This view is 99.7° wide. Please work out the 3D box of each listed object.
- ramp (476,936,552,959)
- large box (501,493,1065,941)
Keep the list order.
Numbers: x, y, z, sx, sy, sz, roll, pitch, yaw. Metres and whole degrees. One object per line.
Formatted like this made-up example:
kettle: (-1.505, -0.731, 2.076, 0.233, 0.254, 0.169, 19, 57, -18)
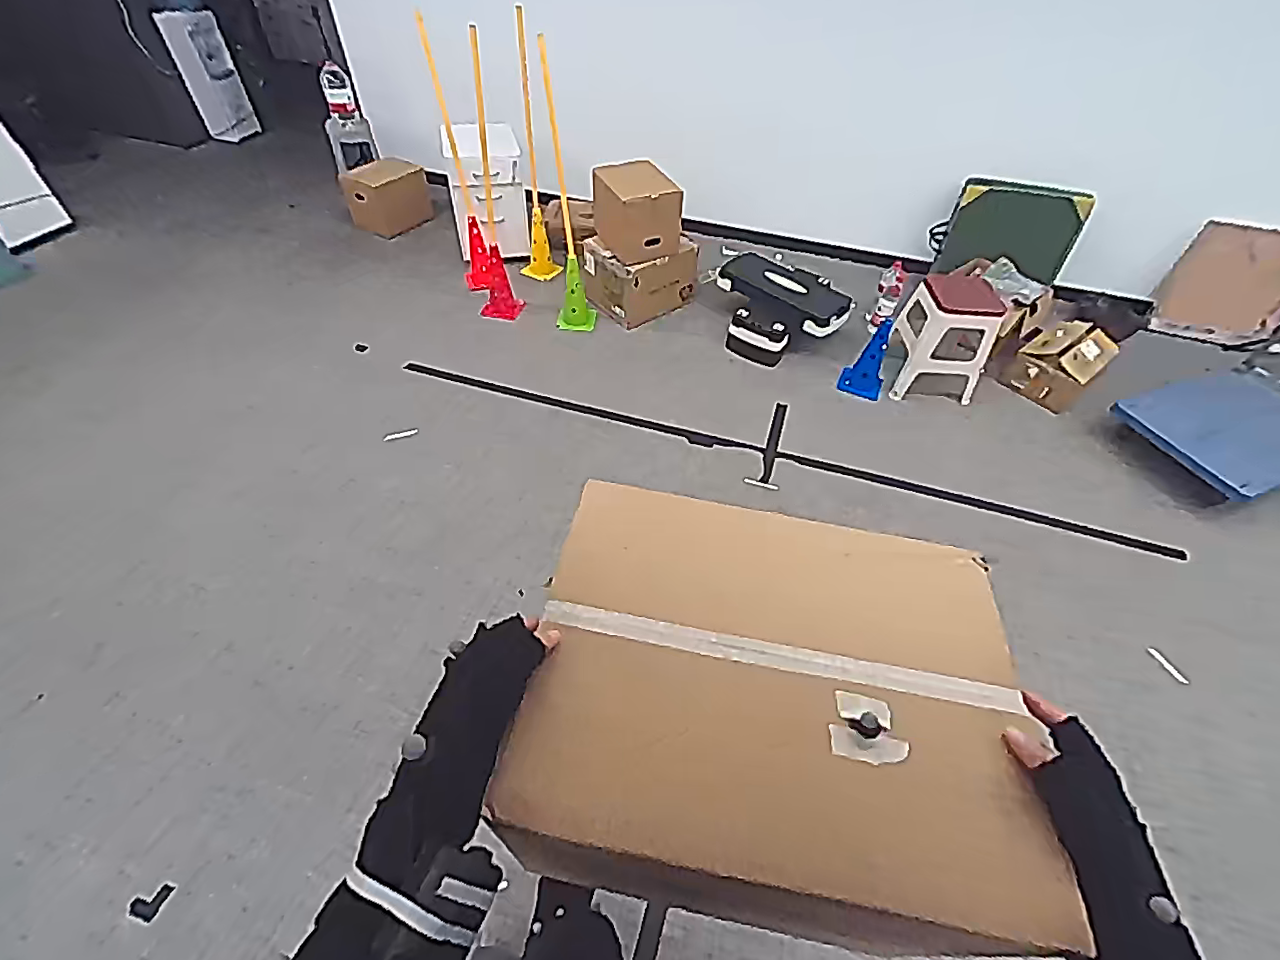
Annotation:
ramp: (-0.235, 1.409, 0.840, 0.509, 0.206, 0.991, 14, 50, 8)
large box: (0.104, 0.254, 0.581, 0.408, 0.320, 0.320, 11, 49, 3)
